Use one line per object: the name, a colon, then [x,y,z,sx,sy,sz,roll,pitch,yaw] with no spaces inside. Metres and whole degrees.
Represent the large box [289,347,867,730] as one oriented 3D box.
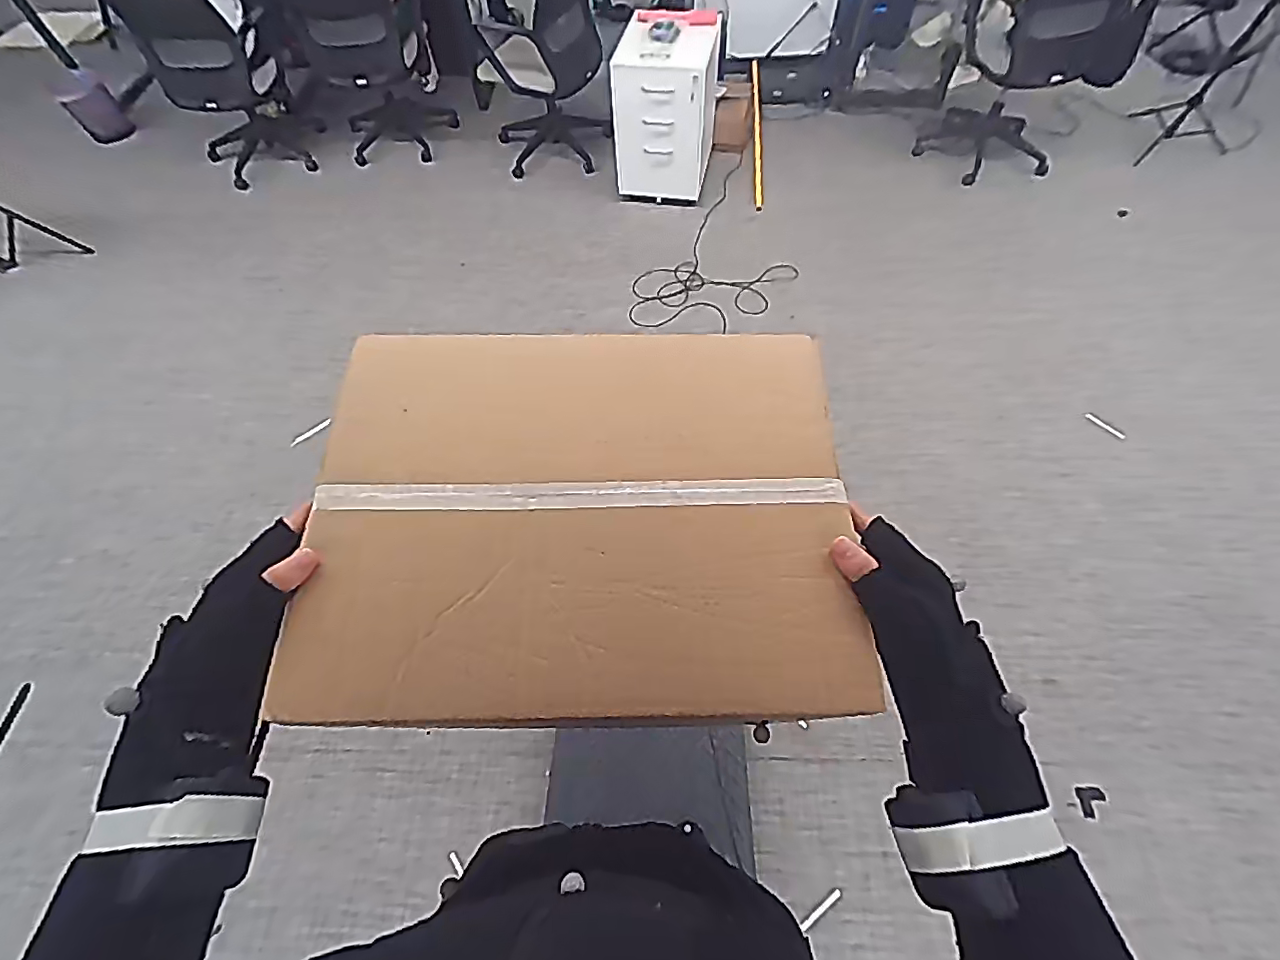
large box: [-0.044,0.083,0.564,0.408,0.320,0.320,-1,64,-1]
